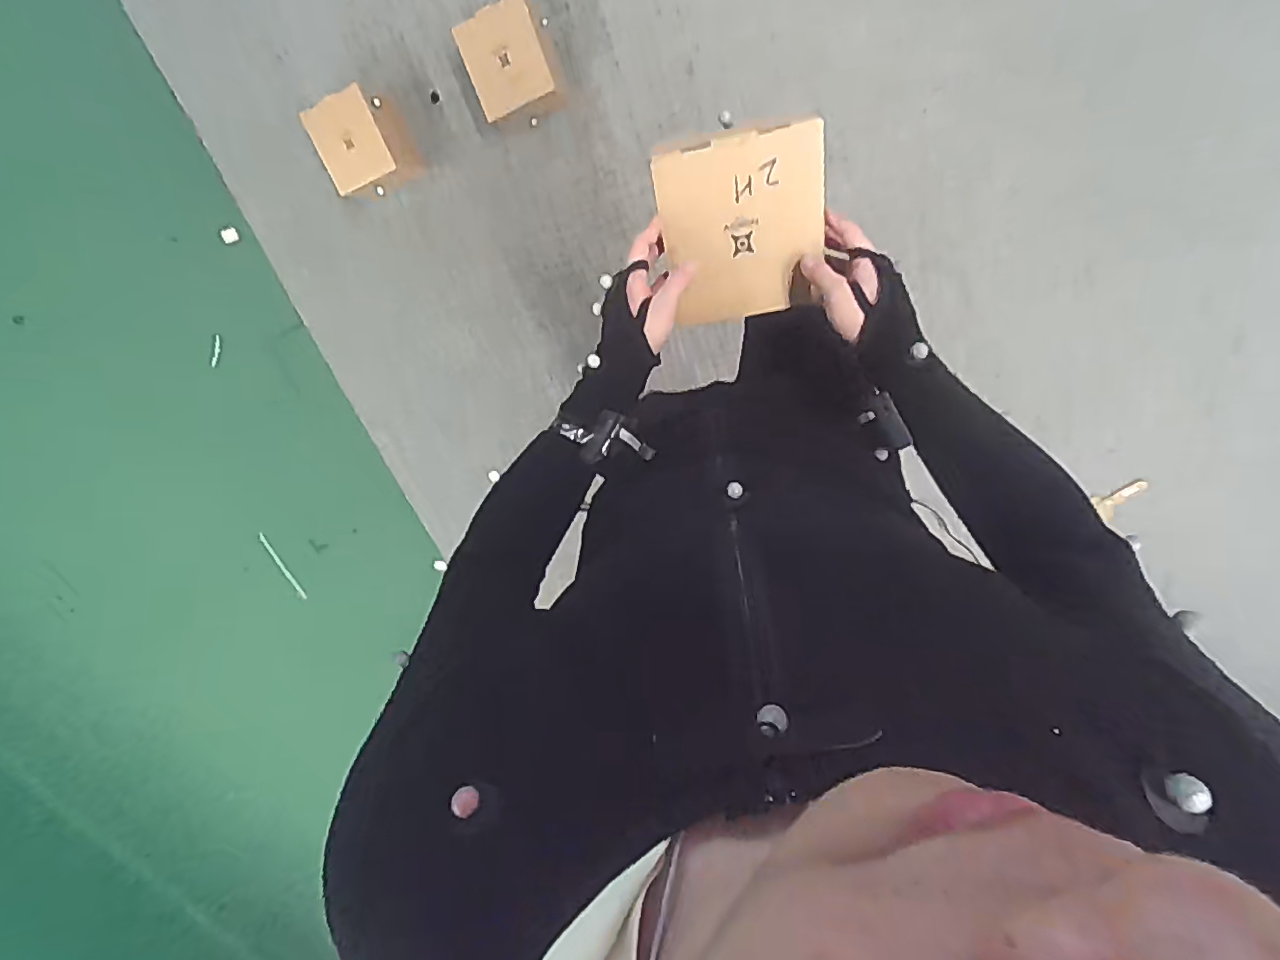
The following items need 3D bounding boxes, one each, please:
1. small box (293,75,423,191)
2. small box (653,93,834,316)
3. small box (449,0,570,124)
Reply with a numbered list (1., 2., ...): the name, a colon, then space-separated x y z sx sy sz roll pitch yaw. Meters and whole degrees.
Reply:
1. small box: -0.641 -0.794 1.257 0.168 0.176 0.179 -15 113 15
2. small box: 0.111 -0.308 0.603 0.168 0.176 0.179 -8 126 8
3. small box: -0.269 -0.896 1.154 0.168 0.176 0.179 -15 114 15
